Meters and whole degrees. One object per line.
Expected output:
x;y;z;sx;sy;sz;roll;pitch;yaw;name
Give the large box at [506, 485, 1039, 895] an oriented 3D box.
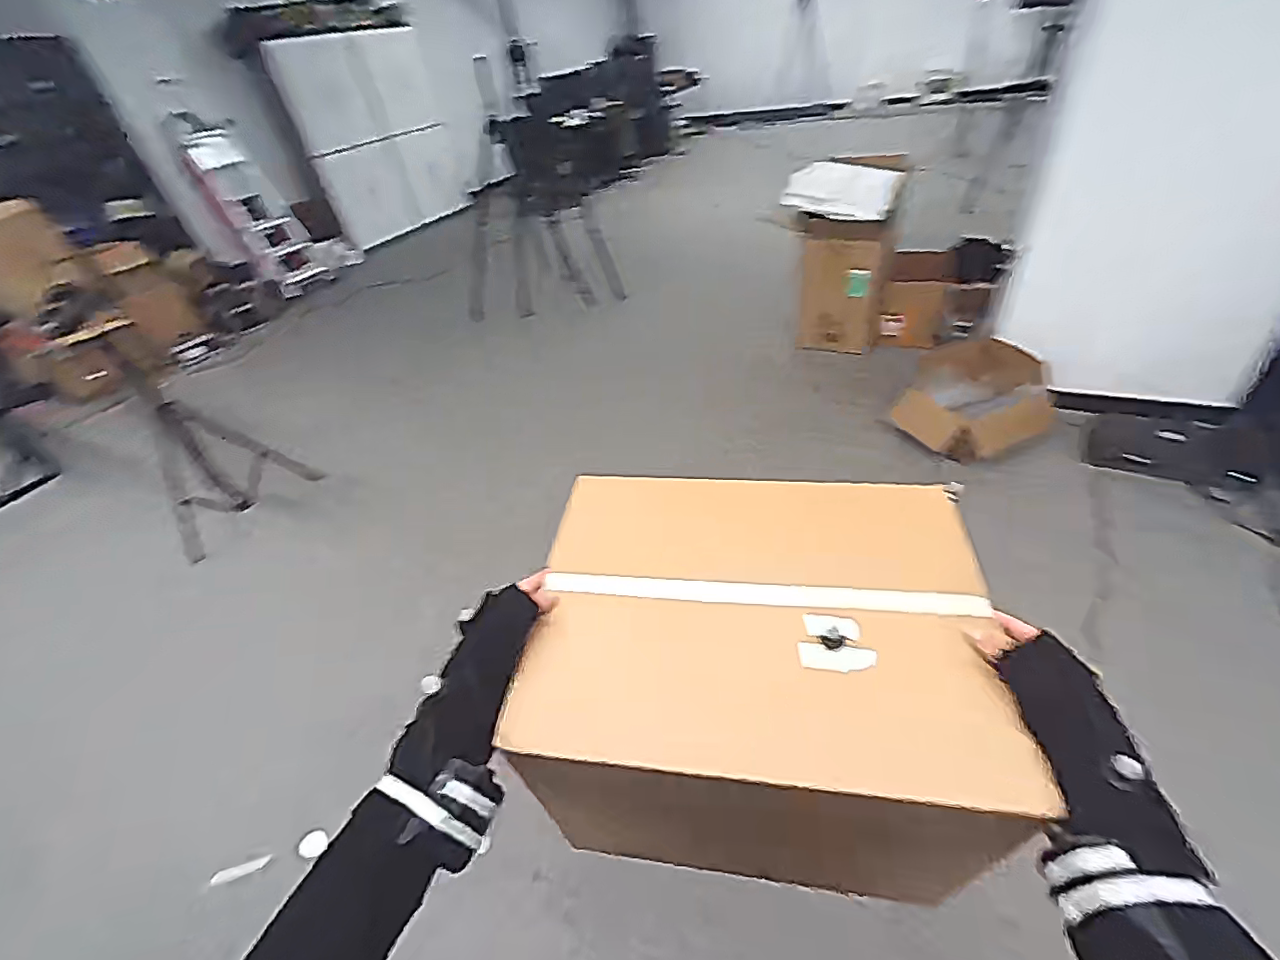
0.117;0.223;0.612;0.408;0.320;0.320;2;44;10;large box
